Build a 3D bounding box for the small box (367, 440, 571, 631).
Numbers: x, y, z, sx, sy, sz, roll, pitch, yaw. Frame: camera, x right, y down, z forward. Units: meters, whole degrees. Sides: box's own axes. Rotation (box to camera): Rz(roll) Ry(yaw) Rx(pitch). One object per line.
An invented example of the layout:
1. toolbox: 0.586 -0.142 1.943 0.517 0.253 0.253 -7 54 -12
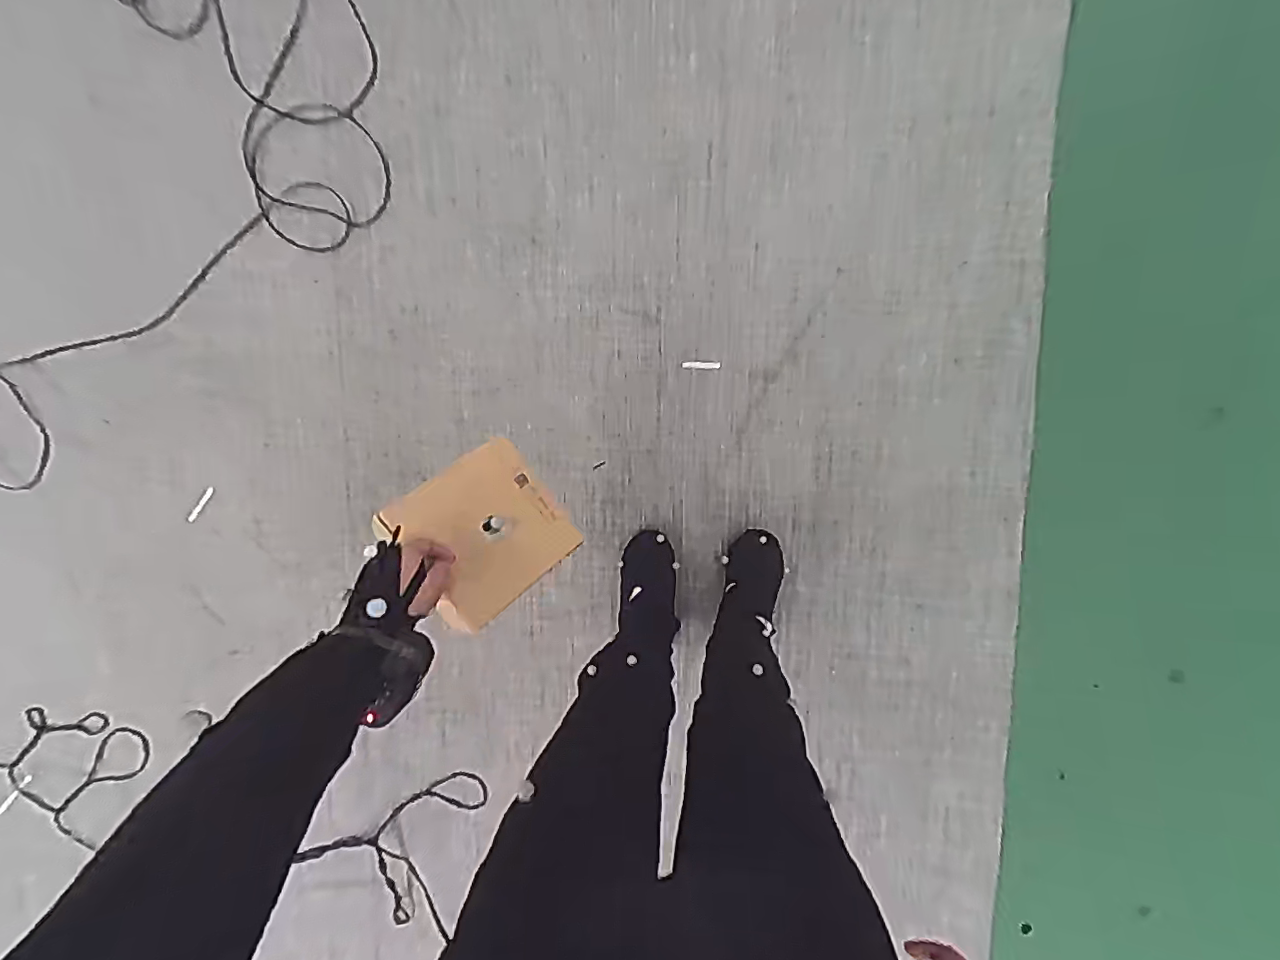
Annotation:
1. small box: -0.214 0.071 0.690 0.176 0.179 0.168 -42 100 -31
